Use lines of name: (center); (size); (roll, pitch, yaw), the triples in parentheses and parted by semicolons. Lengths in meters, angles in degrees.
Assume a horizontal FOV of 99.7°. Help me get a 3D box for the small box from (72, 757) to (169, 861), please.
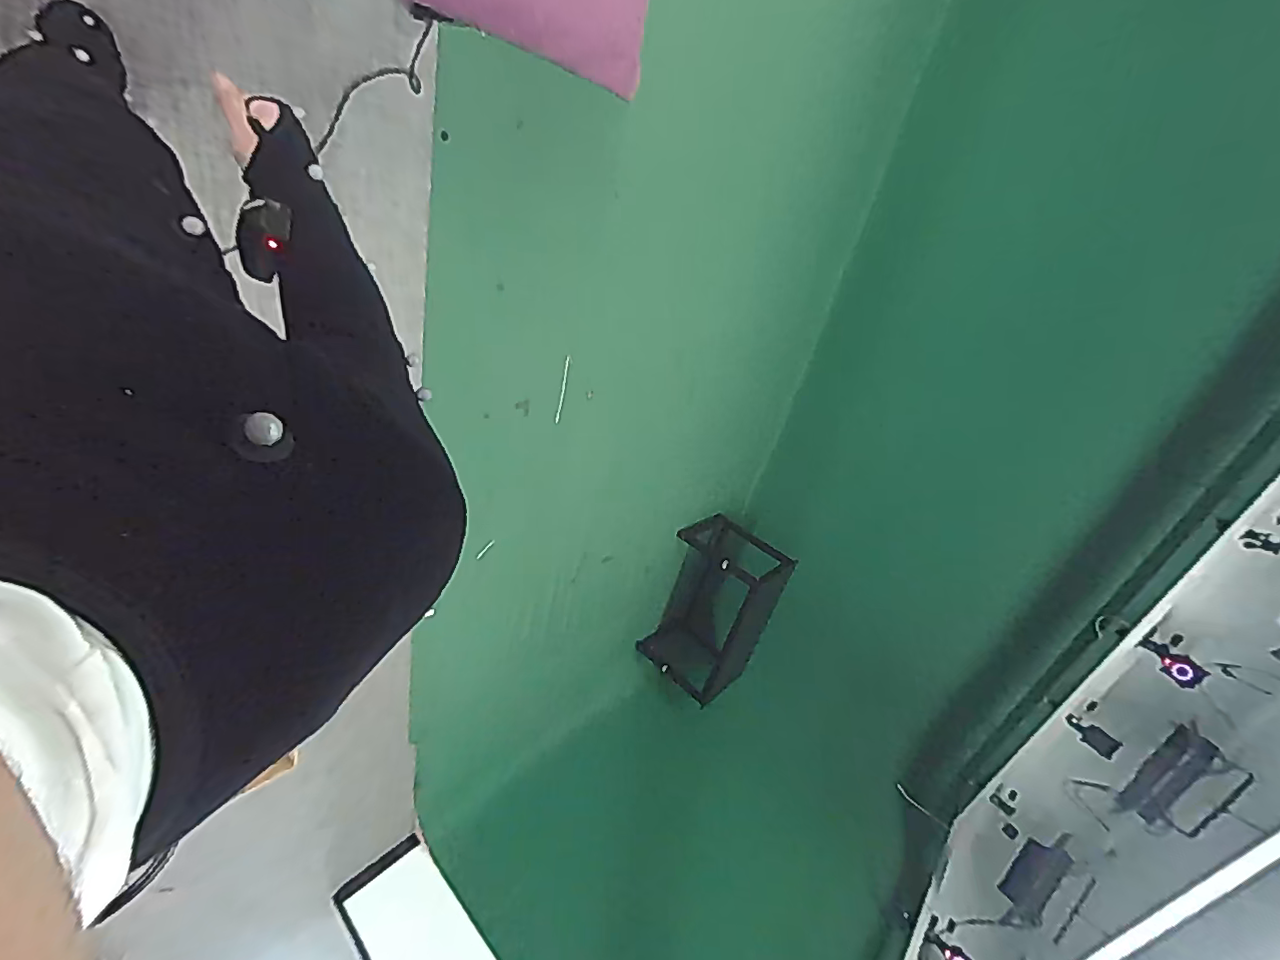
small box: (-1.596, 1.002, 1.658); (0.179, 0.176, 0.168); (-23, 136, -44)
